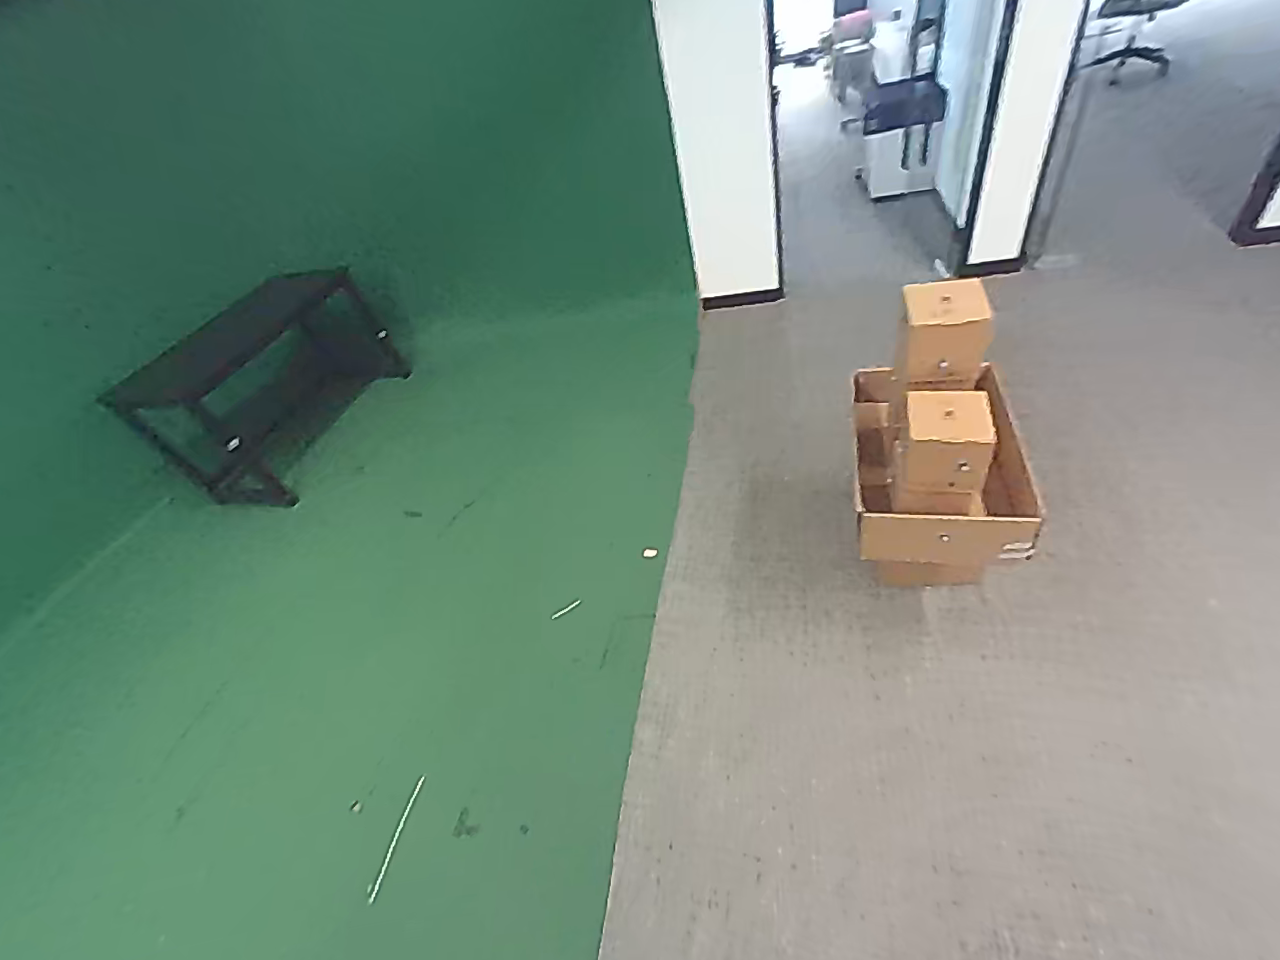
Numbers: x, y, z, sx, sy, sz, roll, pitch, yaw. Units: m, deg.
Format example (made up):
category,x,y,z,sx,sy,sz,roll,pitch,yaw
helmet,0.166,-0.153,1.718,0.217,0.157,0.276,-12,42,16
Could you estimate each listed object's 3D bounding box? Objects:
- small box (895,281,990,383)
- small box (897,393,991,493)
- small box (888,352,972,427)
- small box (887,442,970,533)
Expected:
category,x,y,z,sx,sy,sz,roll,pitch,yaw
small box,0.725,-0.358,1.318,0.168,0.176,0.179,0,49,18
small box,0.712,-0.087,1.282,0.168,0.176,0.179,4,47,20
small box,0.765,-0.258,1.444,0.168,0.176,0.179,2,49,18
small box,0.740,0.020,1.402,0.168,0.176,0.179,2,46,19
